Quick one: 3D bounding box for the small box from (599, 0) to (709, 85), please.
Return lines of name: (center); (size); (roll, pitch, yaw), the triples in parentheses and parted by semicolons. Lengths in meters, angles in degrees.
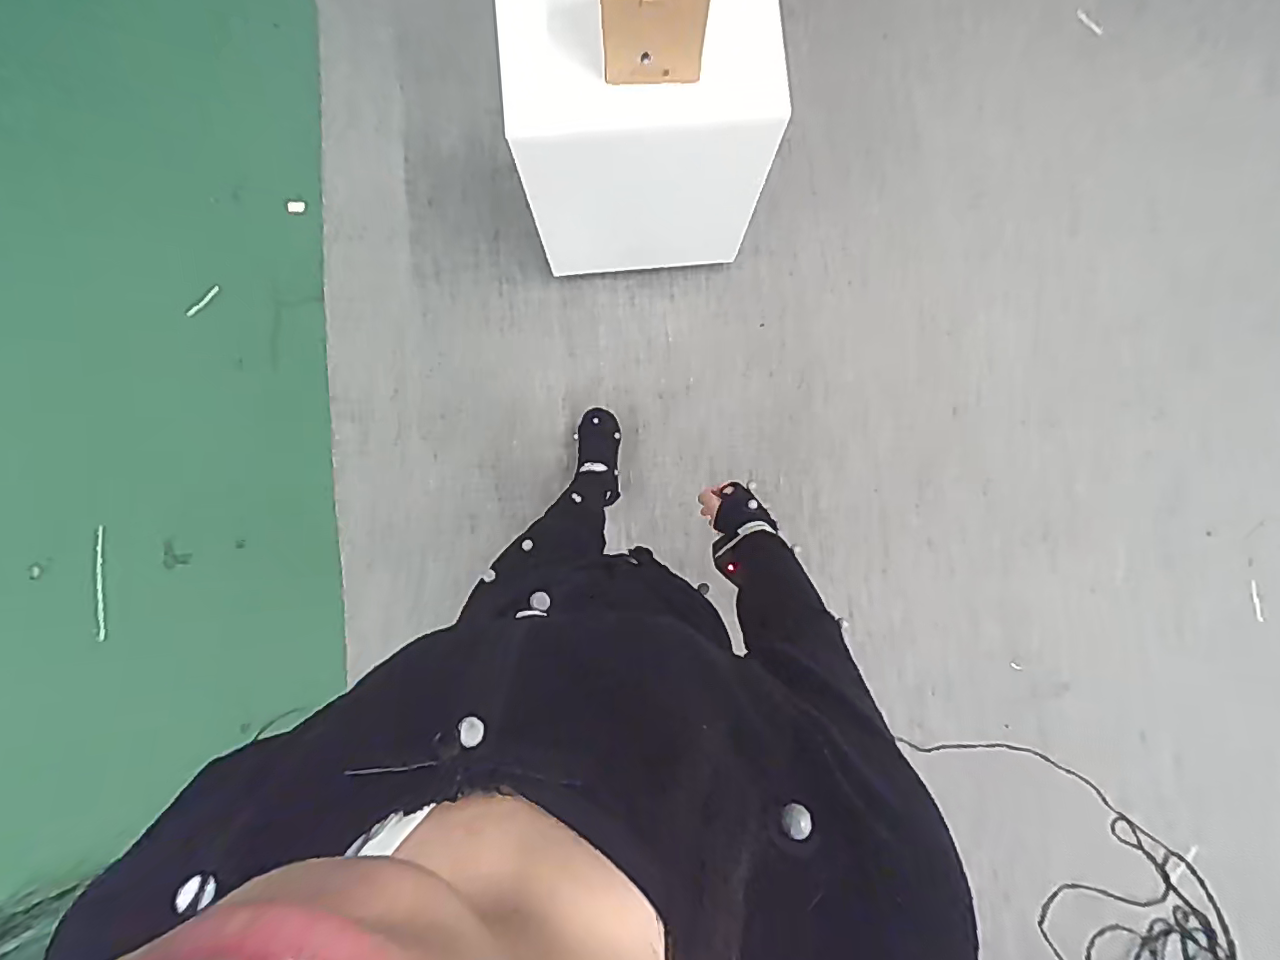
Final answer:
small box: (0.016, -0.785, 0.872); (0.168, 0.176, 0.179); (-3, 85, -1)
